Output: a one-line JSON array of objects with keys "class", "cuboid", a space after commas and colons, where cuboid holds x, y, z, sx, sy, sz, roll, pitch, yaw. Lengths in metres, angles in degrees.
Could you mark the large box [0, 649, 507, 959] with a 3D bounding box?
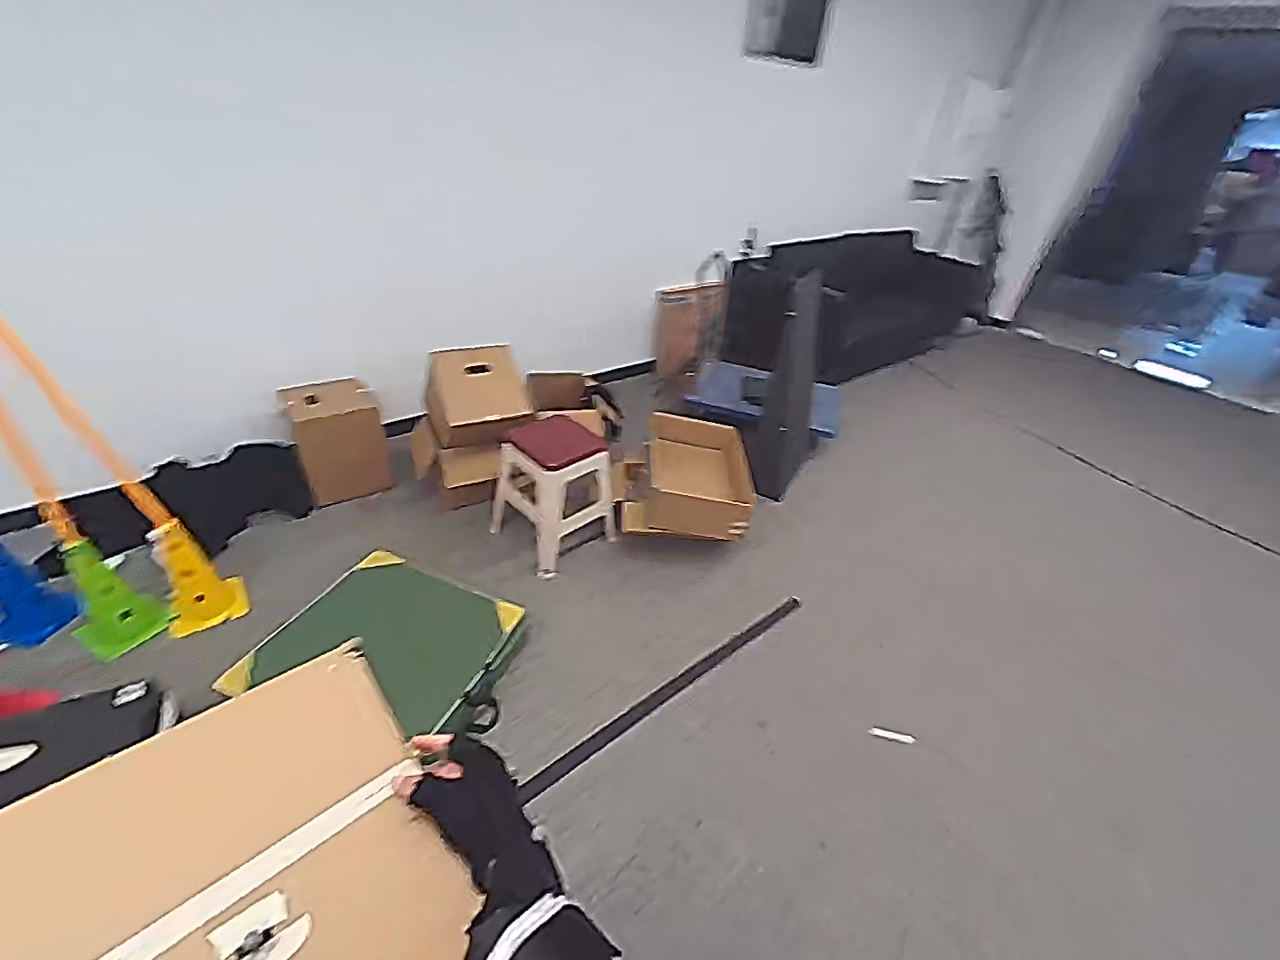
[{"class": "large box", "cuboid": [-0.376, 0.441, 0.477, 0.408, 0.320, 0.320, -23, 54, -37]}]
